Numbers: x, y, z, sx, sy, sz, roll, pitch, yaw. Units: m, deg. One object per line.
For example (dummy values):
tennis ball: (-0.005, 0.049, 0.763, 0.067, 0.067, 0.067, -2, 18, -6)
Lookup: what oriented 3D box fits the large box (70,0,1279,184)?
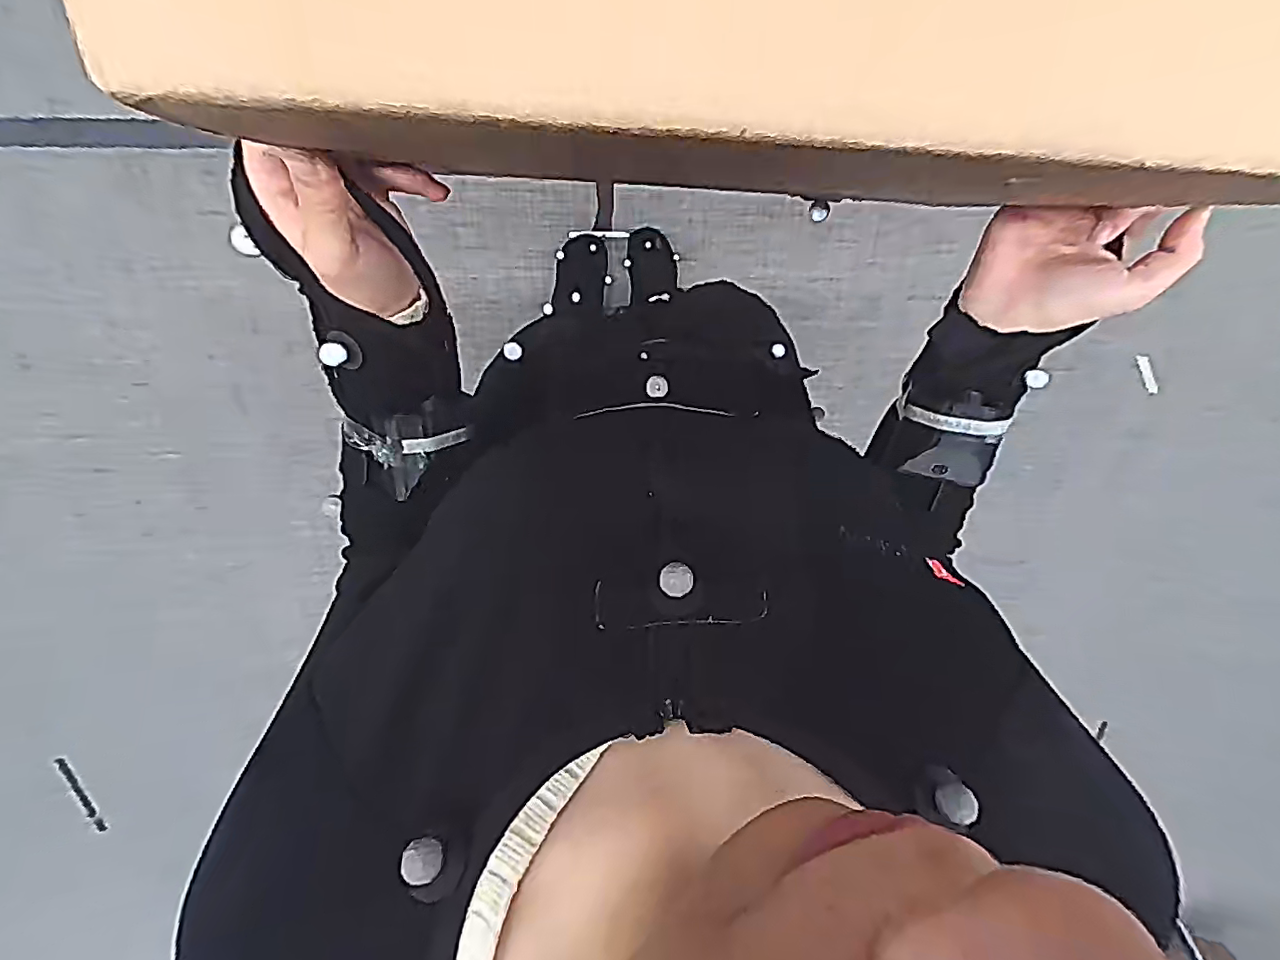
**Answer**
large box: (0.057, -0.304, 0.206, 0.408, 0.320, 0.320, -1, 118, -7)
